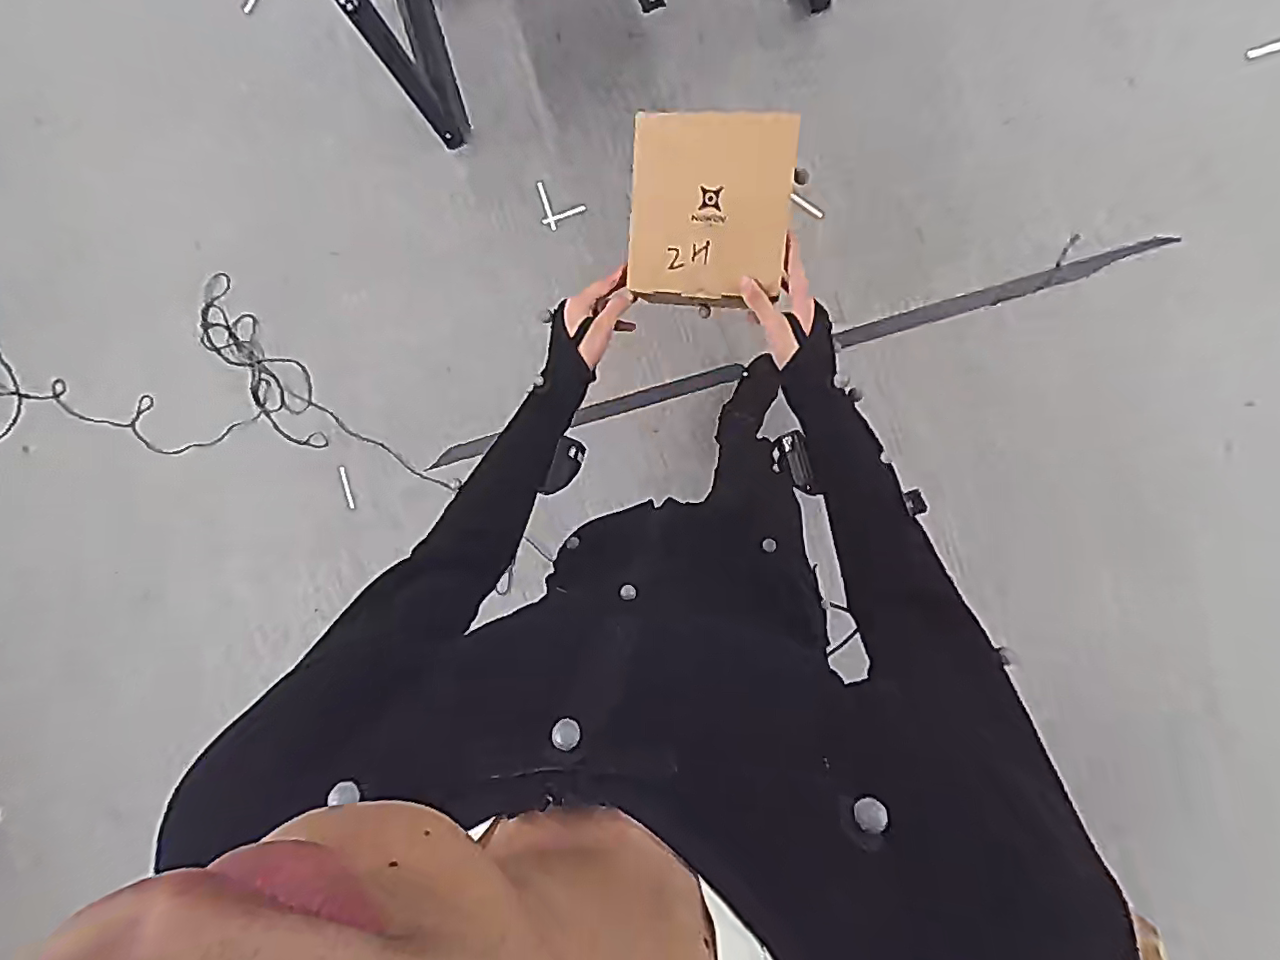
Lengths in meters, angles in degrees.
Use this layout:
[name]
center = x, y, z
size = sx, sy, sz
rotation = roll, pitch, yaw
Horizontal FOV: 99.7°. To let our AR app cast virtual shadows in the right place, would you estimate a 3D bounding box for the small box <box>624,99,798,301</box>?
[small box]
center = 0.080, -0.312, 0.634
size = 0.168, 0.176, 0.179
rotation = 6, 106, 8
